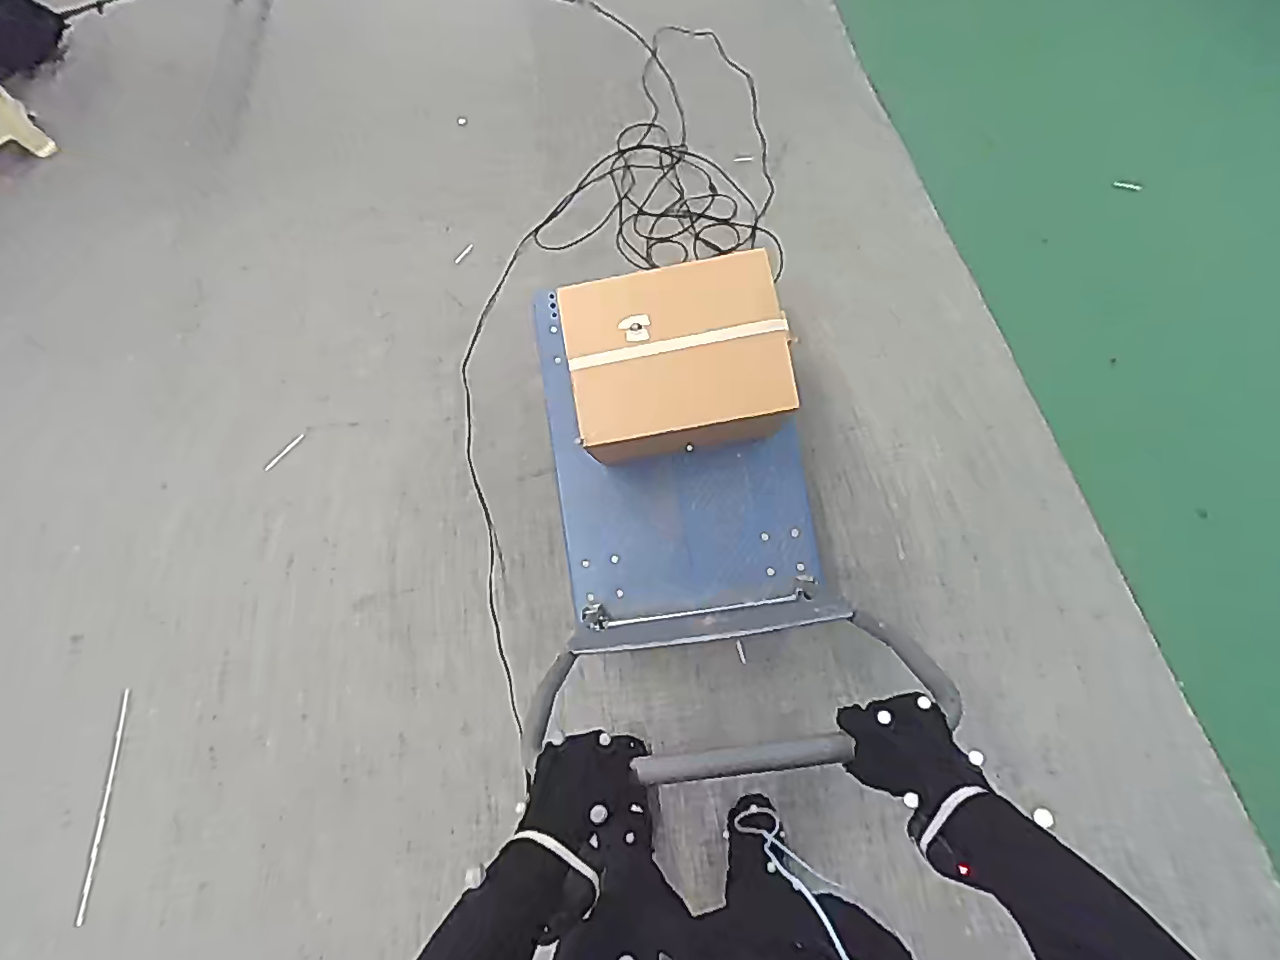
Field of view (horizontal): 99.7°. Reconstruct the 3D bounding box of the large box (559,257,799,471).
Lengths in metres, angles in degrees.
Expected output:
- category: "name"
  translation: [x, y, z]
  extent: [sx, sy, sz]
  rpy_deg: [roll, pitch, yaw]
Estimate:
- category: "large box"
  translation: [0.080, -0.216, 1.150]
  extent: [0.408, 0.320, 0.320]
  rpy_deg: [-11, 83, 4]
